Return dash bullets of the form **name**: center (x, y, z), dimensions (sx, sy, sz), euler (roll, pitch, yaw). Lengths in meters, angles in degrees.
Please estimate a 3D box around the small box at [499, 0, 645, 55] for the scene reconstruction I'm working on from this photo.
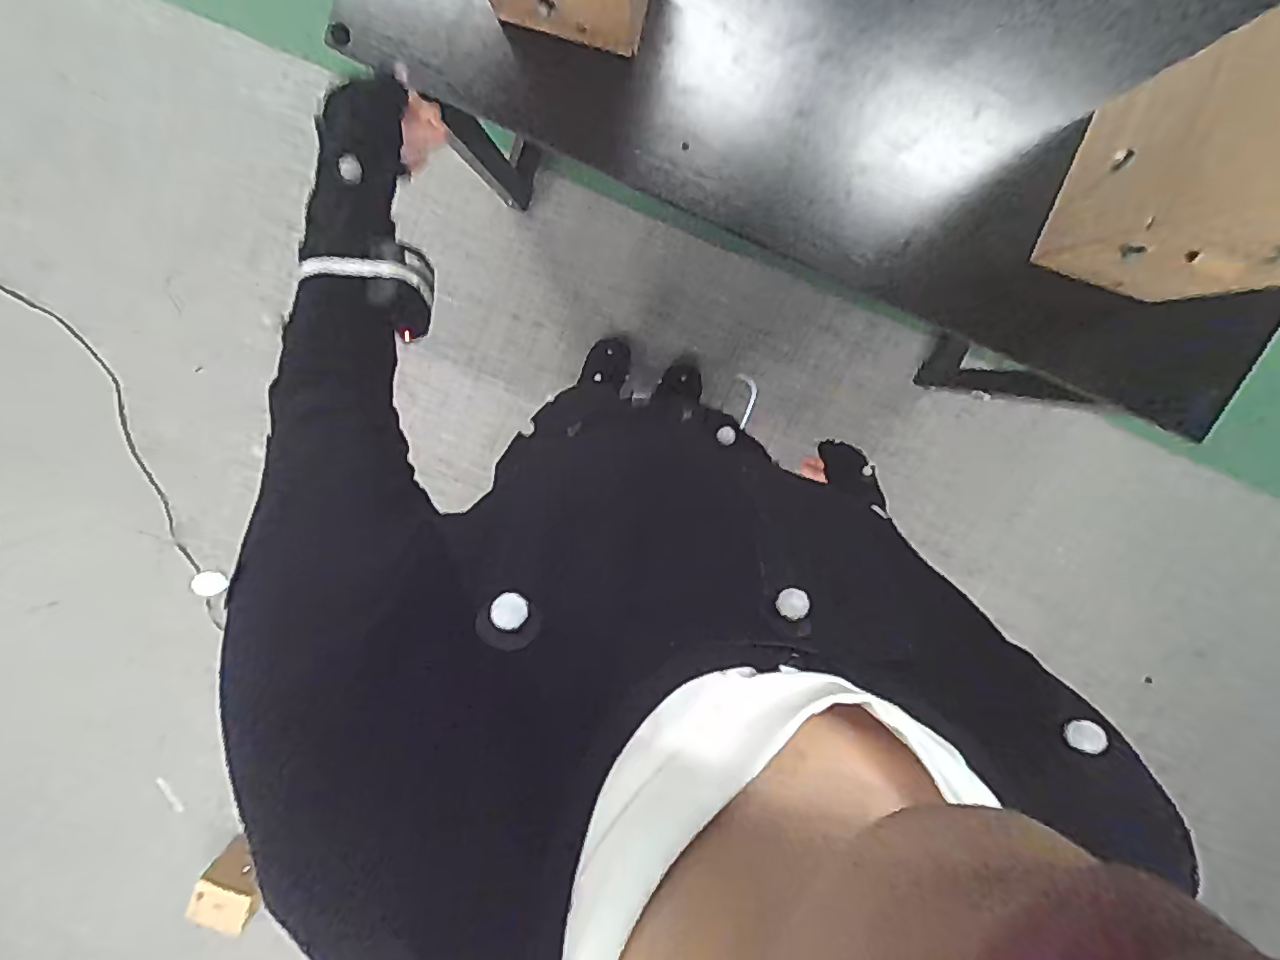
- **small box**: center (-0.066, -0.574, 0.529), dimensions (0.168, 0.176, 0.179), euler (14, 104, -3)

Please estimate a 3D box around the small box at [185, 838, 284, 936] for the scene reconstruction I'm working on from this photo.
- **small box**: center (-1.293, 1.298, 1.736), dimensions (0.179, 0.176, 0.168), euler (24, 102, -4)
